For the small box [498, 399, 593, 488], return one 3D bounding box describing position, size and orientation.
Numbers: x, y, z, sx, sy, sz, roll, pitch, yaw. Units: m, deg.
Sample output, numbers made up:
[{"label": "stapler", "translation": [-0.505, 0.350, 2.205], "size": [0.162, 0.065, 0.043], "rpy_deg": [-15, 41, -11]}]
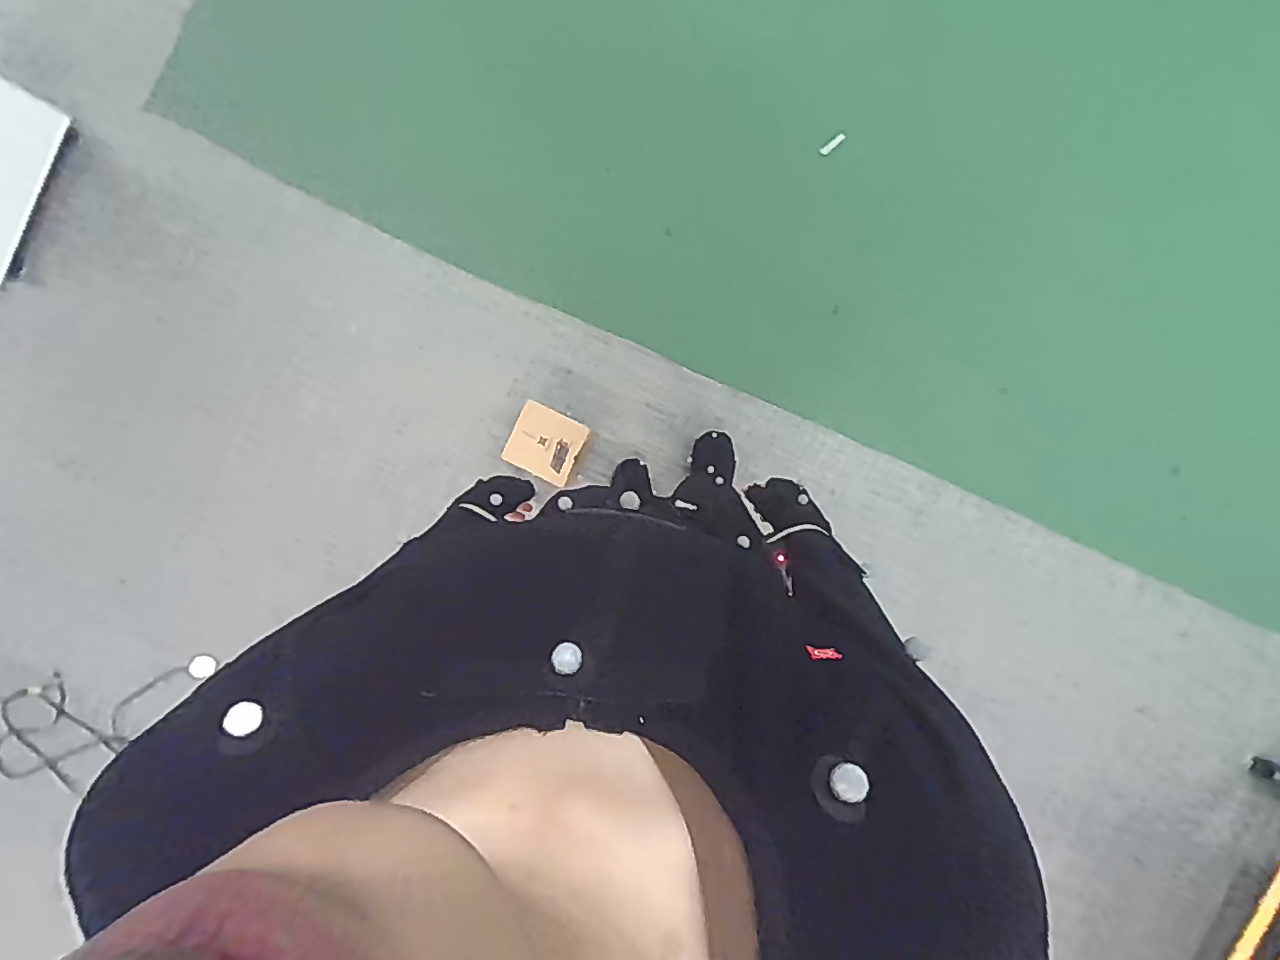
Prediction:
[{"label": "small box", "translation": [-0.234, -0.094, 1.399], "size": [0.179, 0.176, 0.168], "rpy_deg": [26, 92, 1]}]
